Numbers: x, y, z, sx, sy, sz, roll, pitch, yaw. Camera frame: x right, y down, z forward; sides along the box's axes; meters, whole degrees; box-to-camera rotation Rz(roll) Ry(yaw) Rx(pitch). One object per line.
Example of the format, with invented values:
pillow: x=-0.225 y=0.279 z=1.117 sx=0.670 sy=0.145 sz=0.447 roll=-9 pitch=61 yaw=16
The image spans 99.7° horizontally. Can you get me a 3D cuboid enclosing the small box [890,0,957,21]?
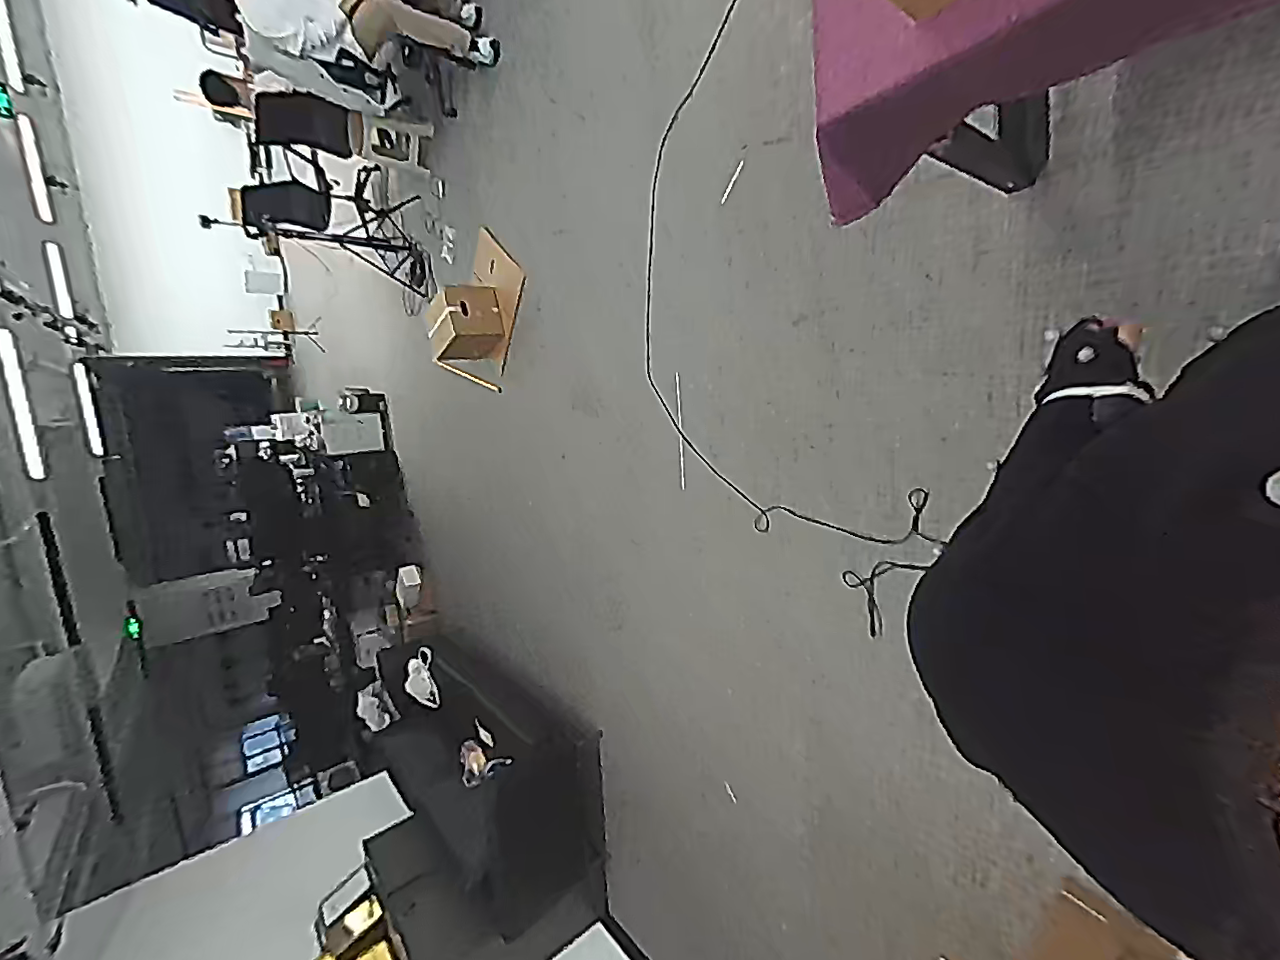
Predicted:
small box: x=0.344 y=-0.658 z=0.585 sx=0.179 sy=0.176 sz=0.168 roll=4 pitch=101 yaw=50
